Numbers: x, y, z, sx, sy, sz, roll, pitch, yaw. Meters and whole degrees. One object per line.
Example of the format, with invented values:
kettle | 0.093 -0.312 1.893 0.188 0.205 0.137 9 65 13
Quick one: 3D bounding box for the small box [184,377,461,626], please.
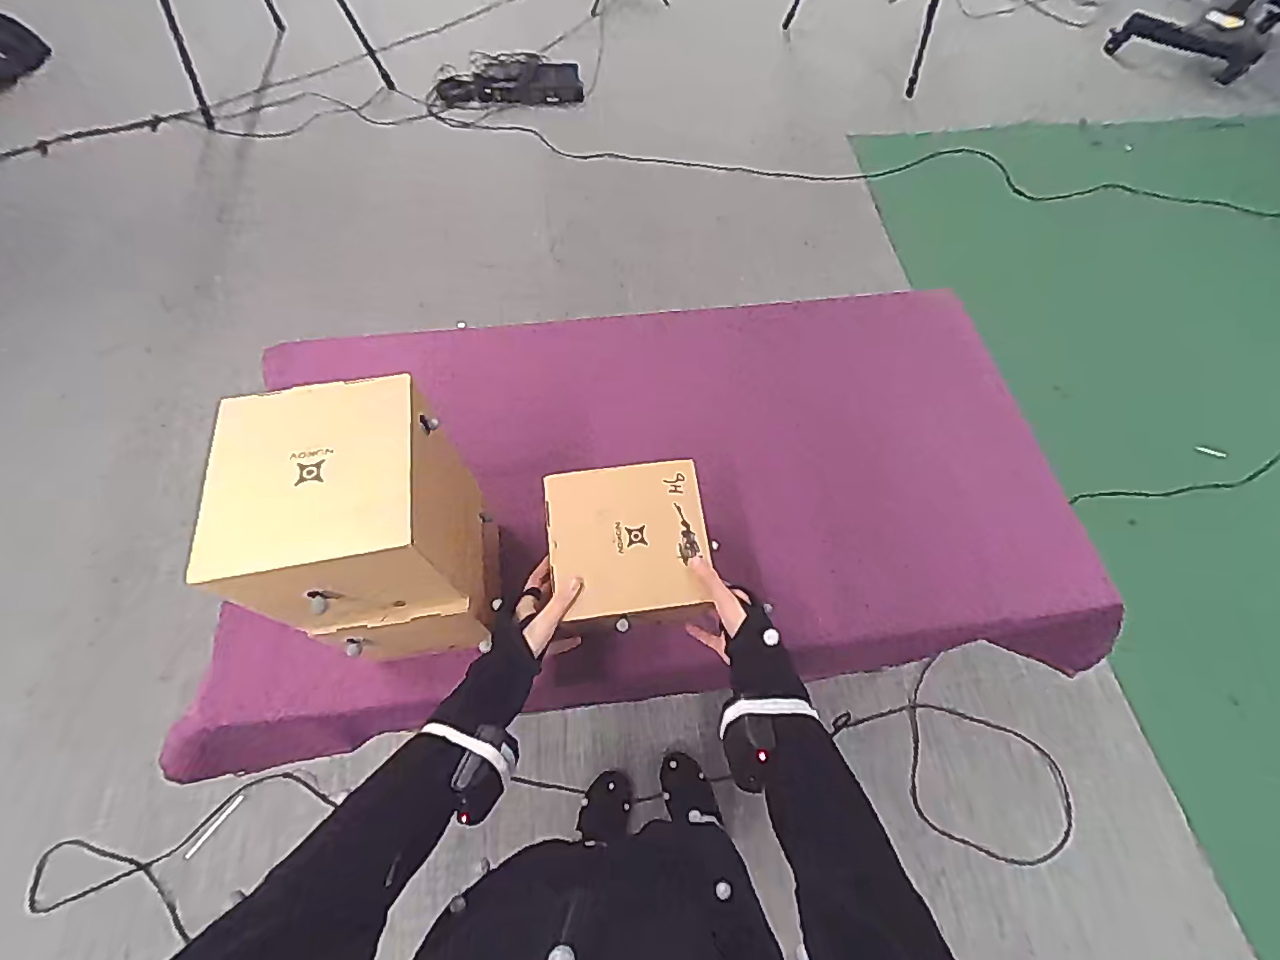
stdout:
small box | -0.278 0.031 0.521 0.168 0.176 0.179 -10 61 -6
